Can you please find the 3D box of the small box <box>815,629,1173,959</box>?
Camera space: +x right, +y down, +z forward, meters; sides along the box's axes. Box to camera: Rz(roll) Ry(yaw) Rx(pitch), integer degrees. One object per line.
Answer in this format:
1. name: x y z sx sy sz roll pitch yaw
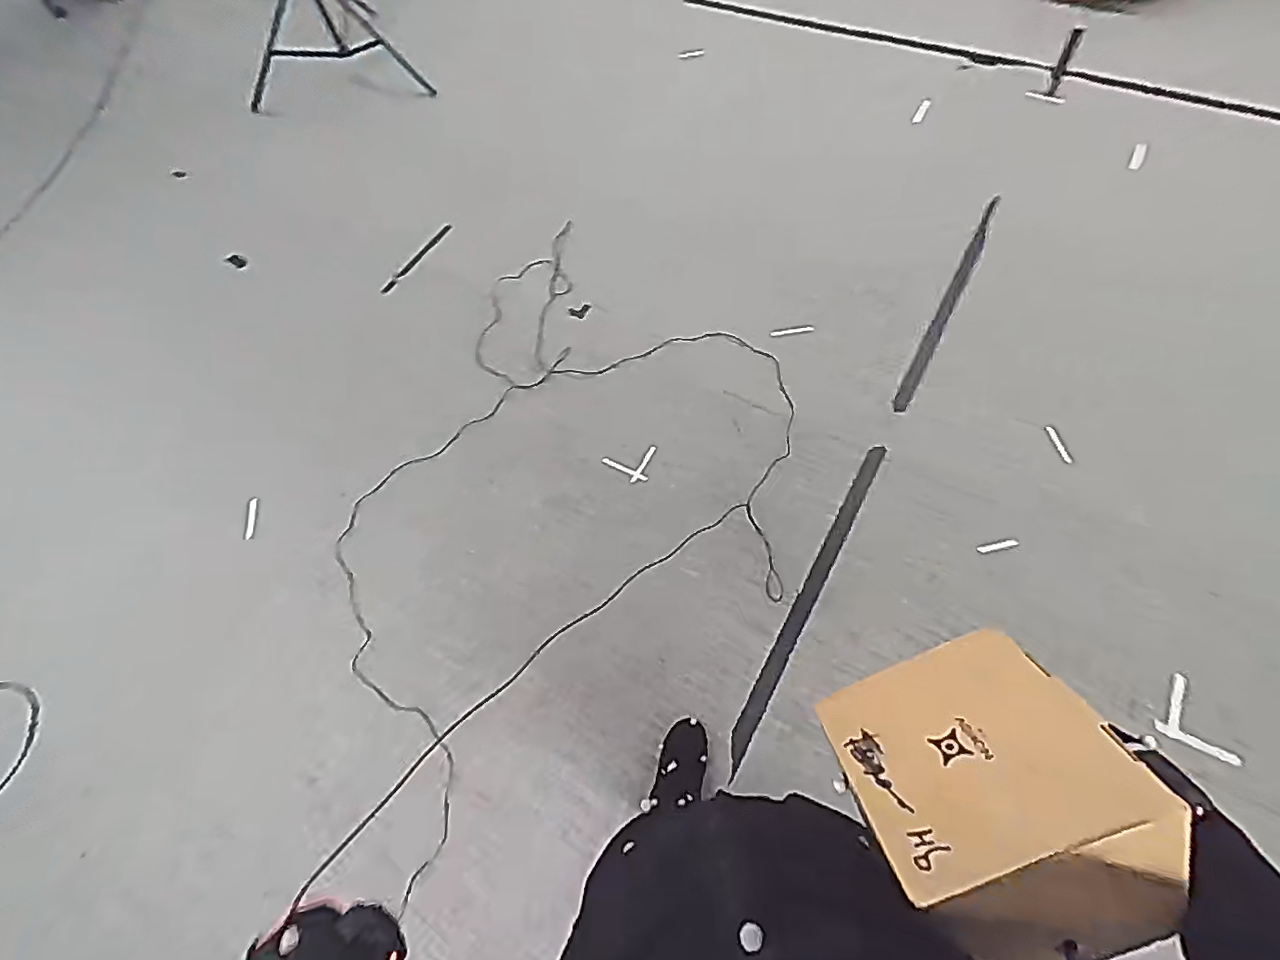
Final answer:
1. small box: 0.278 0.266 0.449 0.179 0.176 0.168 -26 25 5
